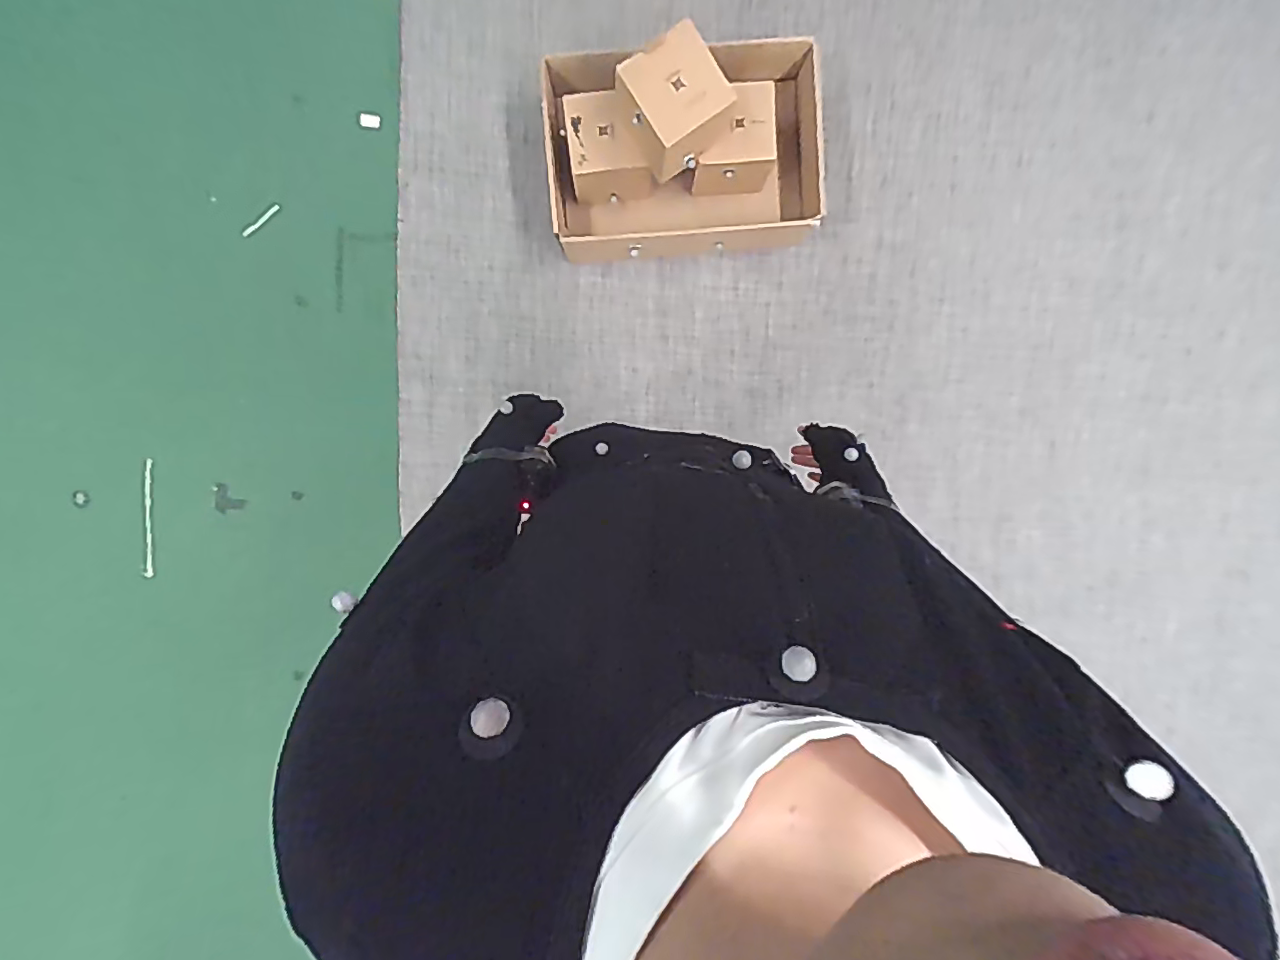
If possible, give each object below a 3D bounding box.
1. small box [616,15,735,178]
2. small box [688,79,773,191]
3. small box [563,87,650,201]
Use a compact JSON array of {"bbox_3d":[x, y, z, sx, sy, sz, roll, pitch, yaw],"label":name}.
[{"bbox_3d":[0.063,-0.760,1.095,0.168,0.176,0.179,-35,97,2],"label":"small box"},{"bbox_3d":[0.203,-0.791,1.256,0.179,0.176,0.168,-3,96,-1],"label":"small box"},{"bbox_3d":[-0.078,-0.770,1.251,0.179,0.176,0.168,-7,95,-3],"label":"small box"}]
